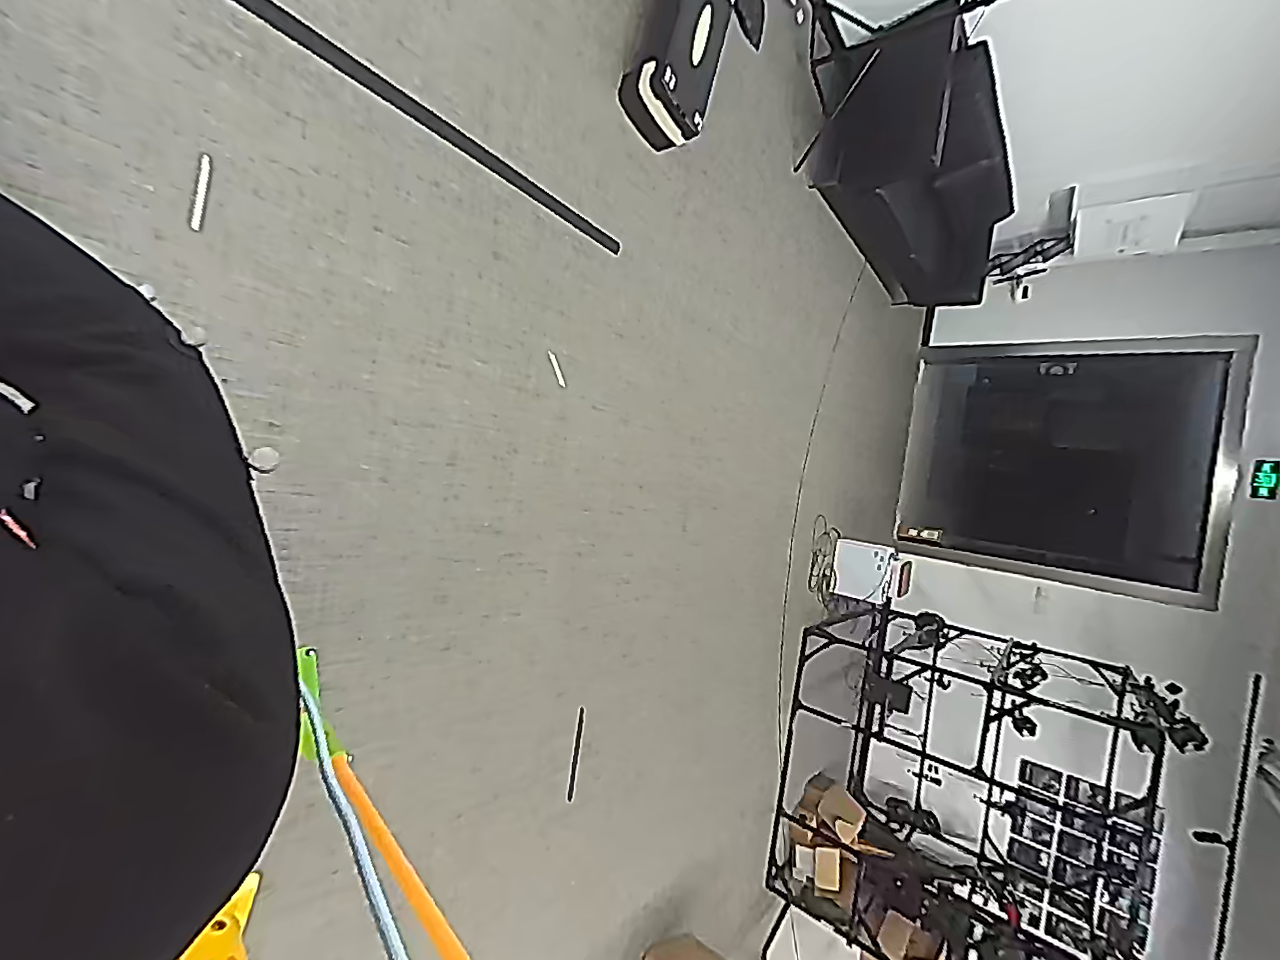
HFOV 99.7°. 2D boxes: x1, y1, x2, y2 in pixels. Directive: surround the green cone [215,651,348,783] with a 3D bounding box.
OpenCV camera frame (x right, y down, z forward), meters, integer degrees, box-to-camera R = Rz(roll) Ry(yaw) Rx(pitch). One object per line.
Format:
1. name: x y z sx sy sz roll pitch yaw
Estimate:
1. green cone: -0.738 0.547 1.167 0.200 0.368 0.202 -12 108 -51
